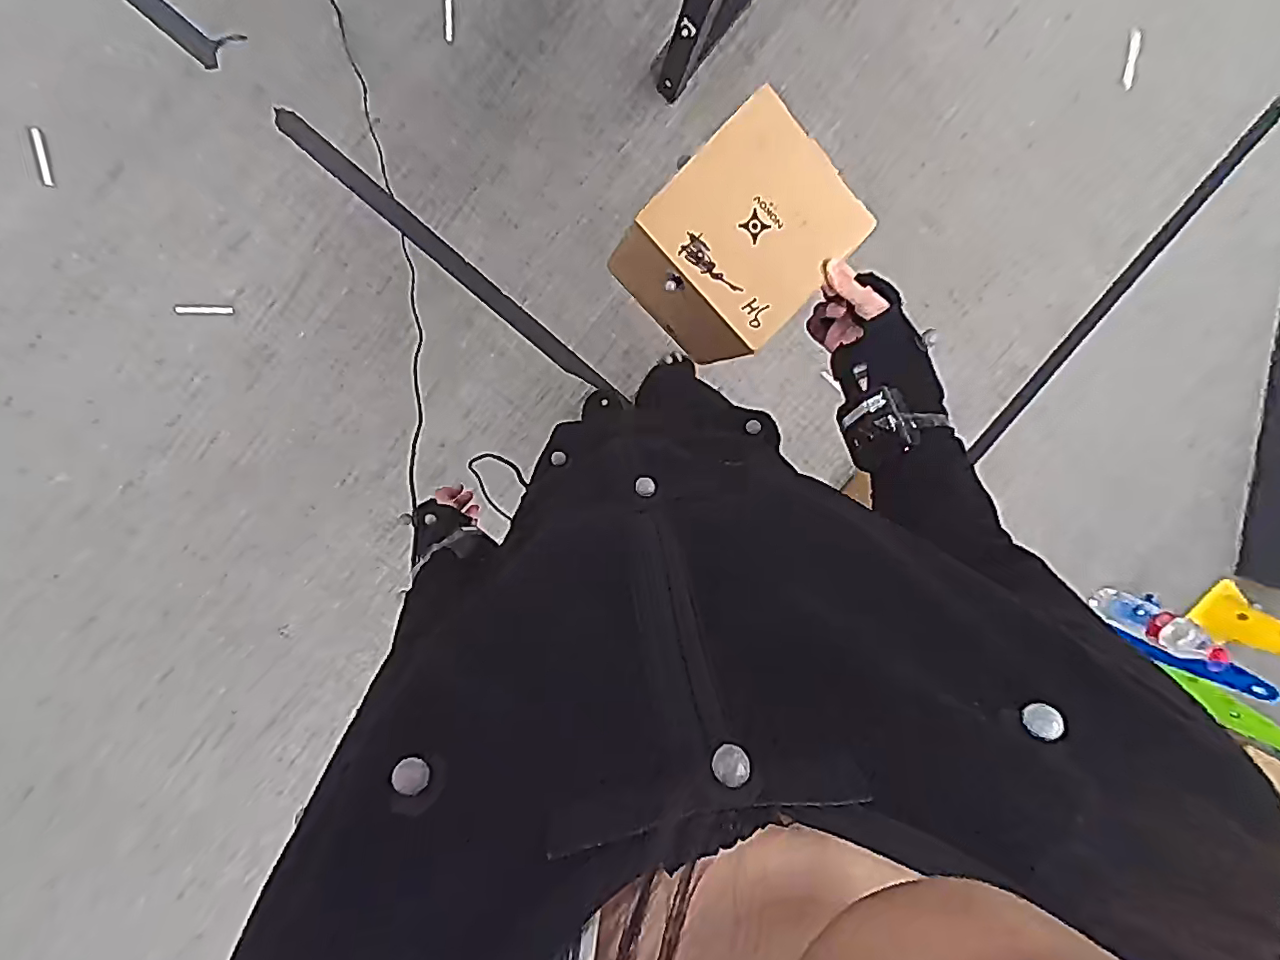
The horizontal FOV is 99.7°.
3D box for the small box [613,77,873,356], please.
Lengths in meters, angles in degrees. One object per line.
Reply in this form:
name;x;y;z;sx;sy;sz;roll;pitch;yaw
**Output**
small box;0.092;-0.251;0.567;0.168;0.176;0.179;43;87;-15
